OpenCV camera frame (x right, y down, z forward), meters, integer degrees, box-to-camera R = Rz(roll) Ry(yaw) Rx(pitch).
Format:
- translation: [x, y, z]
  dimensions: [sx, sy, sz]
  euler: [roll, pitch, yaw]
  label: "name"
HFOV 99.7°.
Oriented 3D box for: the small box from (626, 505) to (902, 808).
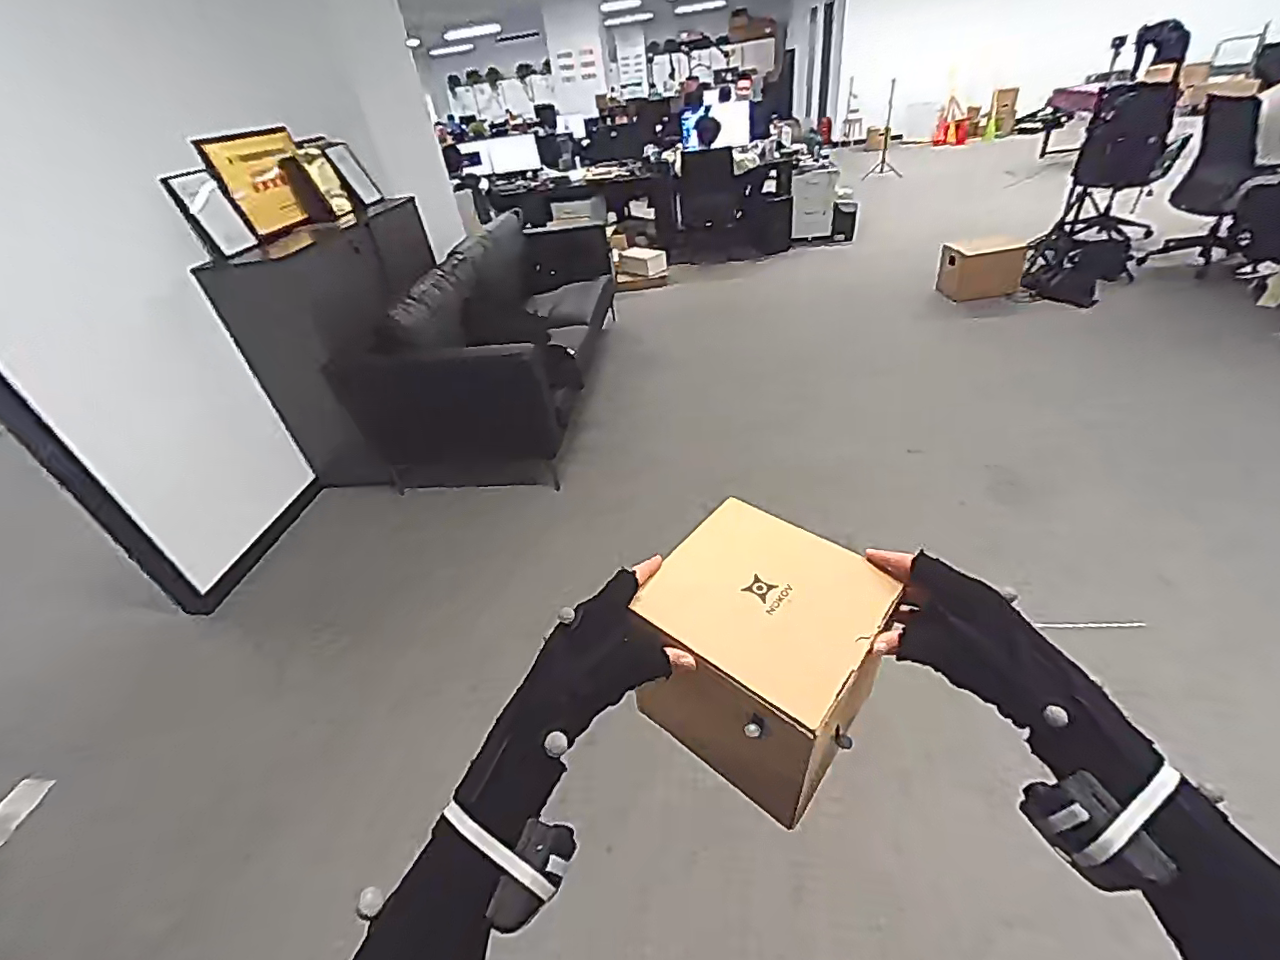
- translation: [0.107, 0.158, 0.504]
  dimensions: [0.179, 0.176, 0.168]
  euler: [26, 48, 32]
  label: "small box"
